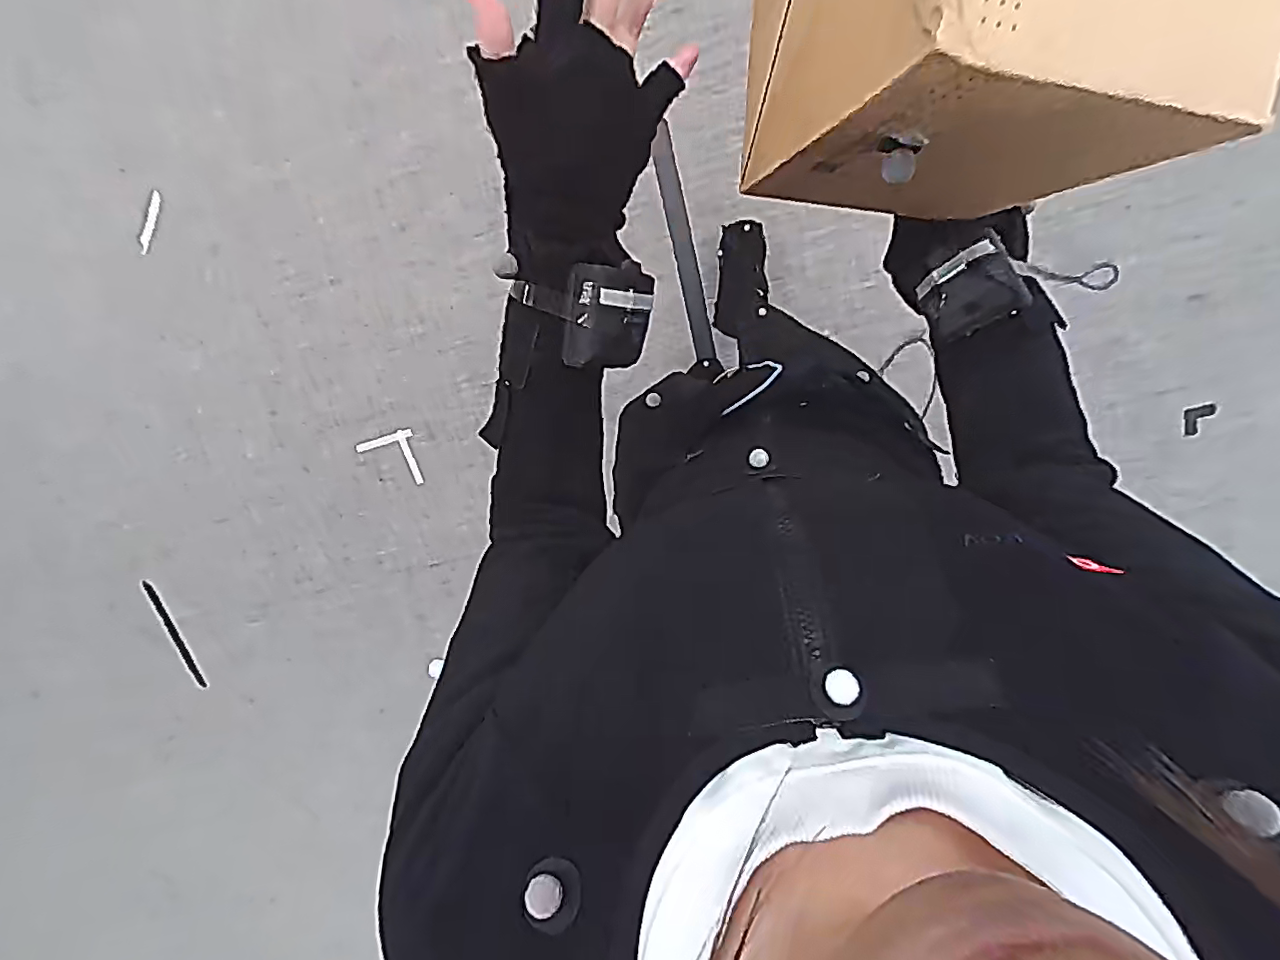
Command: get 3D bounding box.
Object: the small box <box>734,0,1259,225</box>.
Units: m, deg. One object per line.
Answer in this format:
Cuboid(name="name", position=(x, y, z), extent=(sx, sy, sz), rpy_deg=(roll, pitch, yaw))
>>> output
Cuboid(name="small box", position=(0.158, -0.250, 0.275), extent=(0.176, 0.168, 0.179), rpy_deg=(1, 102, -12))
